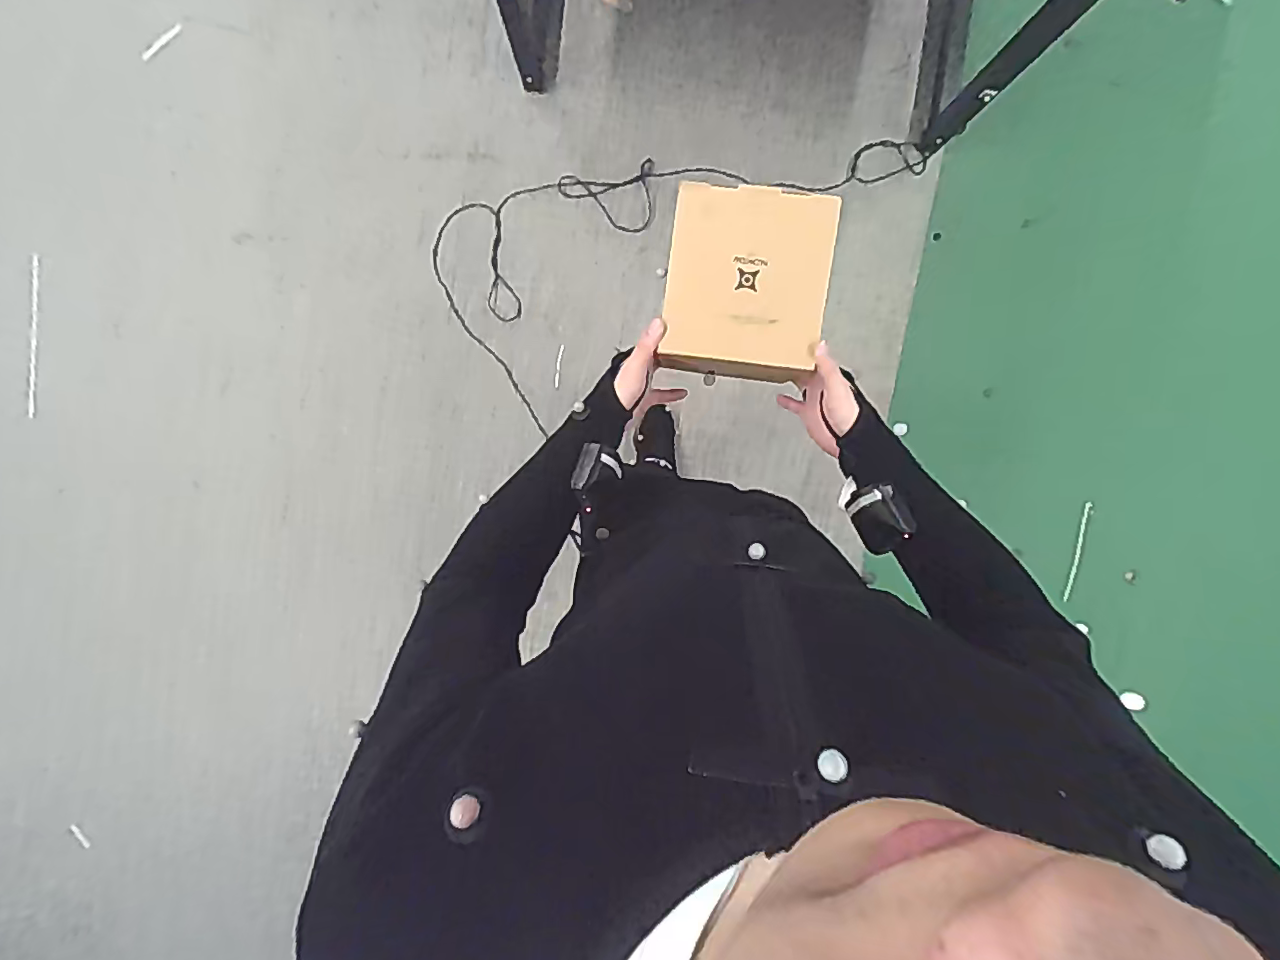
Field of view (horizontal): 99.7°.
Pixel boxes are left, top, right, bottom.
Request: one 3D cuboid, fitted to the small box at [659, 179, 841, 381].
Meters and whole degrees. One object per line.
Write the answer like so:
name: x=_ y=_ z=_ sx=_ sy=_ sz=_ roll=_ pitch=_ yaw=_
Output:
small box: x=0.115 y=-0.218 z=0.634 sx=0.168 sy=0.176 sz=0.179 roll=9 pitch=98 yaw=2
